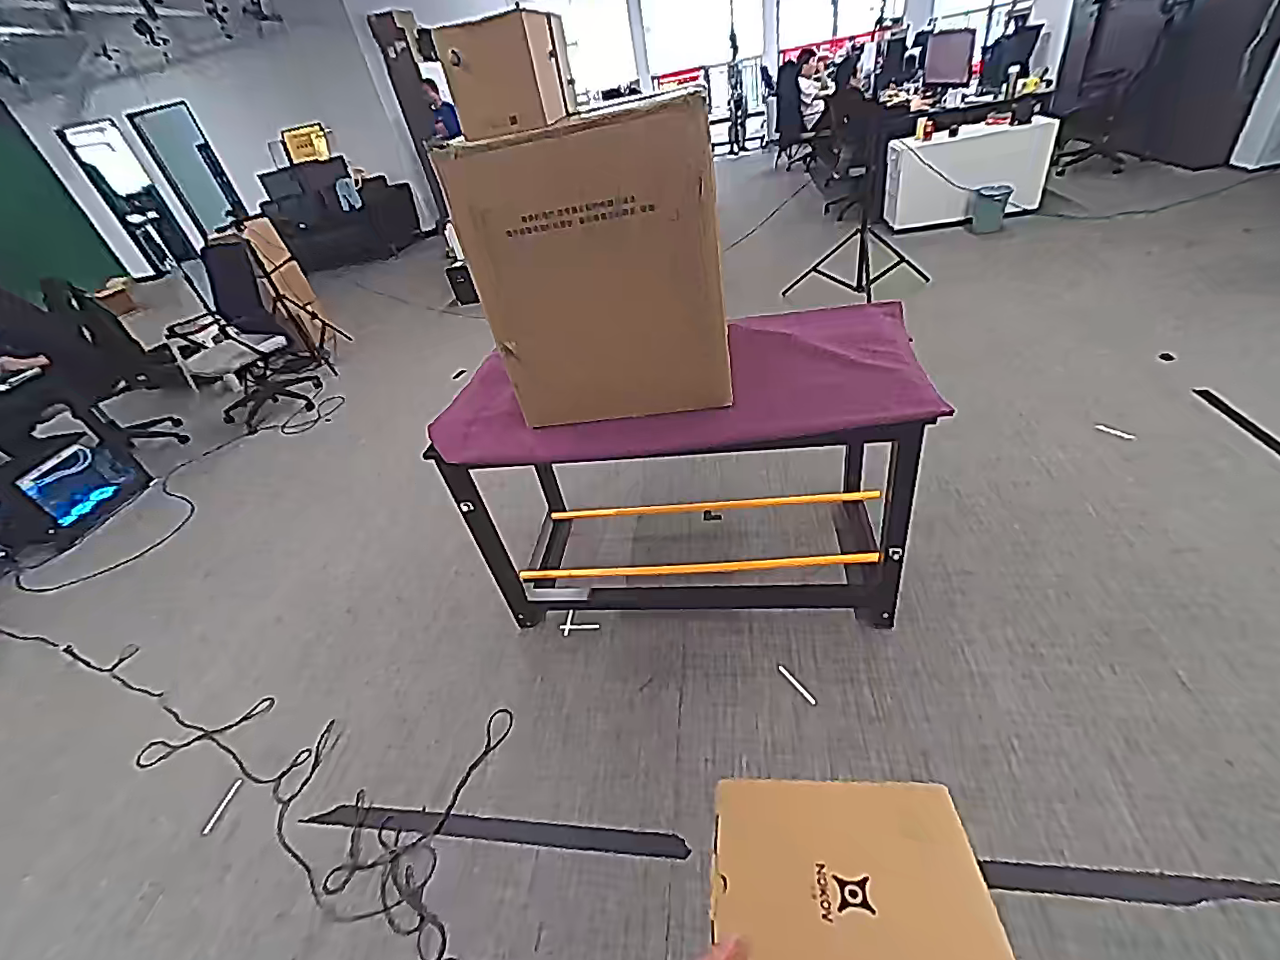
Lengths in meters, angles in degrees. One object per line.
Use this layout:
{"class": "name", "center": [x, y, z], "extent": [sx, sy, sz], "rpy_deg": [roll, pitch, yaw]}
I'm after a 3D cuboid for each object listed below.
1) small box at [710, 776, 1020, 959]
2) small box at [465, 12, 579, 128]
{"class": "small box", "center": [0.146, 0.340, 0.377], "extent": [0.179, 0.176, 0.168], "rpy_deg": [-6, 21, 12]}
{"class": "small box", "center": [-0.243, -0.869, 1.155], "extent": [0.179, 0.176, 0.168], "rpy_deg": [-5, 38, 7]}
